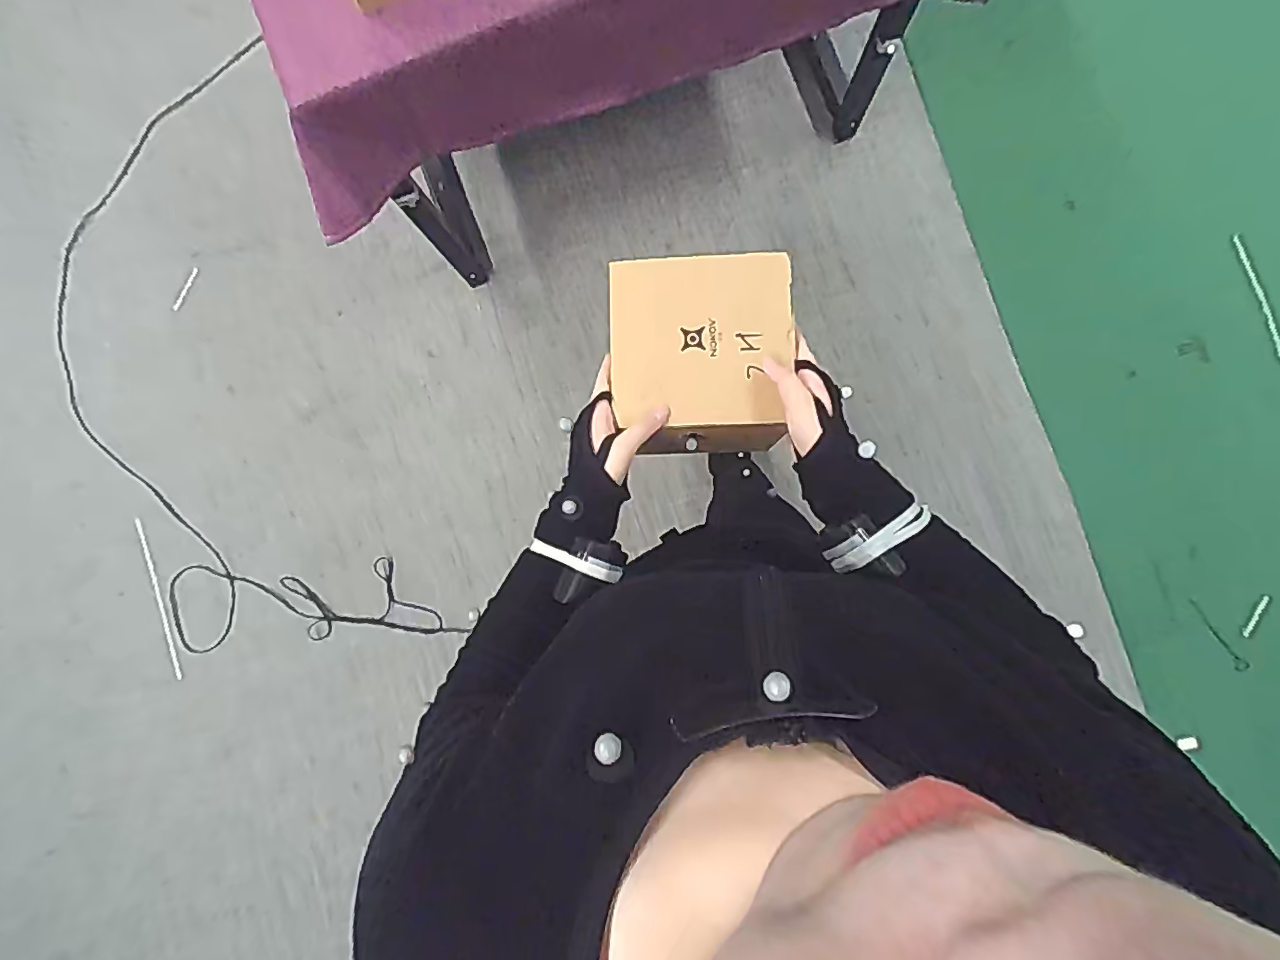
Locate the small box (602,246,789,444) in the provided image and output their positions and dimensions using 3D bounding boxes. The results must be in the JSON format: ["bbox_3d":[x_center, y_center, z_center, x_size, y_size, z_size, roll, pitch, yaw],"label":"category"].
[{"bbox_3d":[0.058,-0.132,0.589,0.179,0.176,0.168,-1,85,4],"label":"small box"}]
